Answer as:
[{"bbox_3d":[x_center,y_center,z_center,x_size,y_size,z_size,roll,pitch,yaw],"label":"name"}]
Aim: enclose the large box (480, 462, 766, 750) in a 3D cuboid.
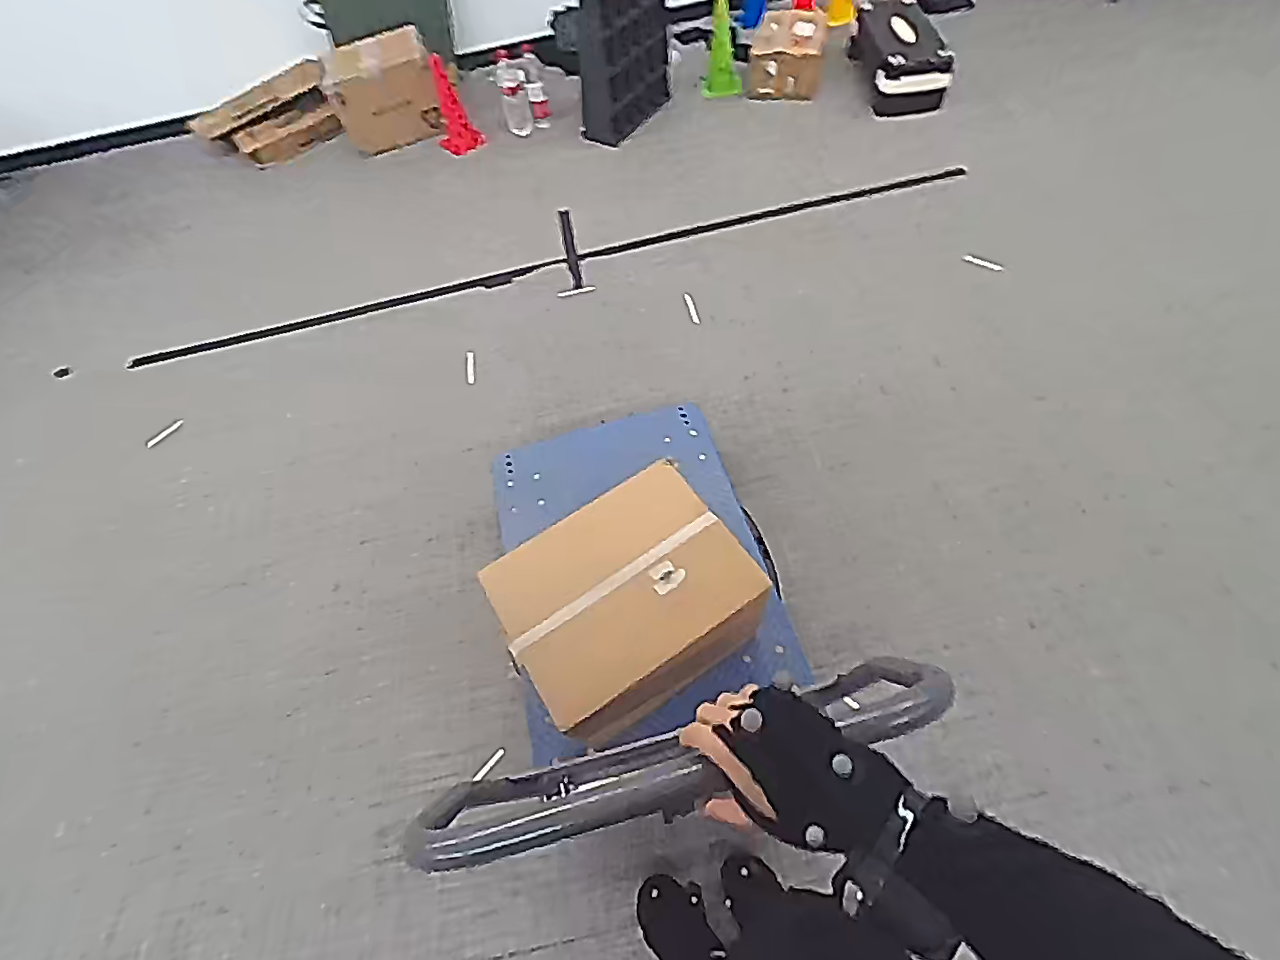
[{"bbox_3d":[-0.023,0.247,1.042,0.408,0.320,0.320,-32,62,-13],"label":"large box"}]
